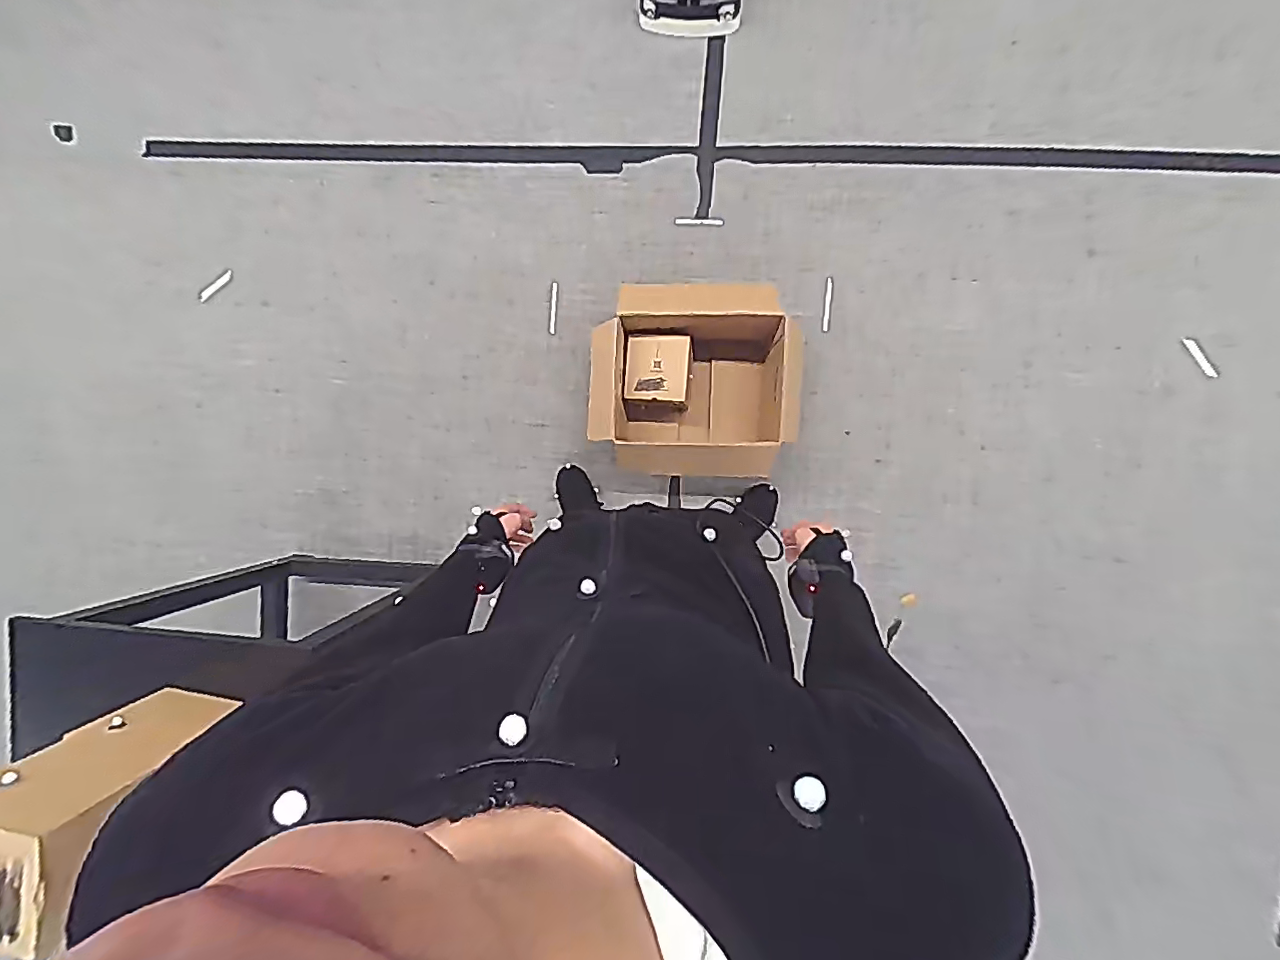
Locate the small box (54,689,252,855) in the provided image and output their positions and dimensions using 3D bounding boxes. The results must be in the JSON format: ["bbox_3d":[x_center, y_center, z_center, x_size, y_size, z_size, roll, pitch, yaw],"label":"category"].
[{"bbox_3d":[-0.799,0.471,0.900,0.179,0.176,0.168,9,95,4],"label":"small box"}]
